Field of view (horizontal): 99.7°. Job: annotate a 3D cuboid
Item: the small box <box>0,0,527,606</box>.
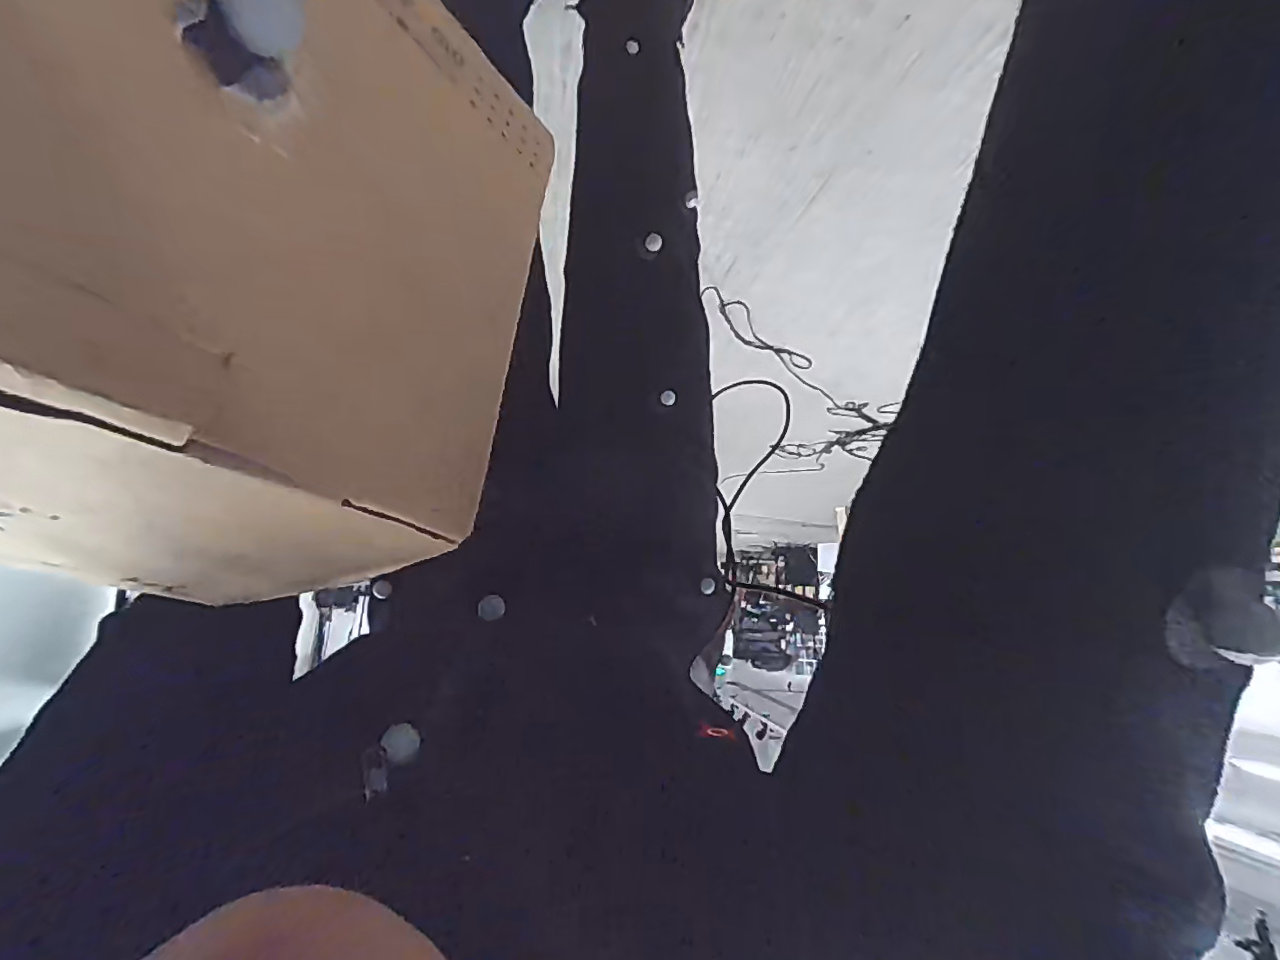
[{"bbox_3d":[-0.151,-0.070,0.162,0.179,0.176,0.168,-17,148,35],"label":"small box"}]
